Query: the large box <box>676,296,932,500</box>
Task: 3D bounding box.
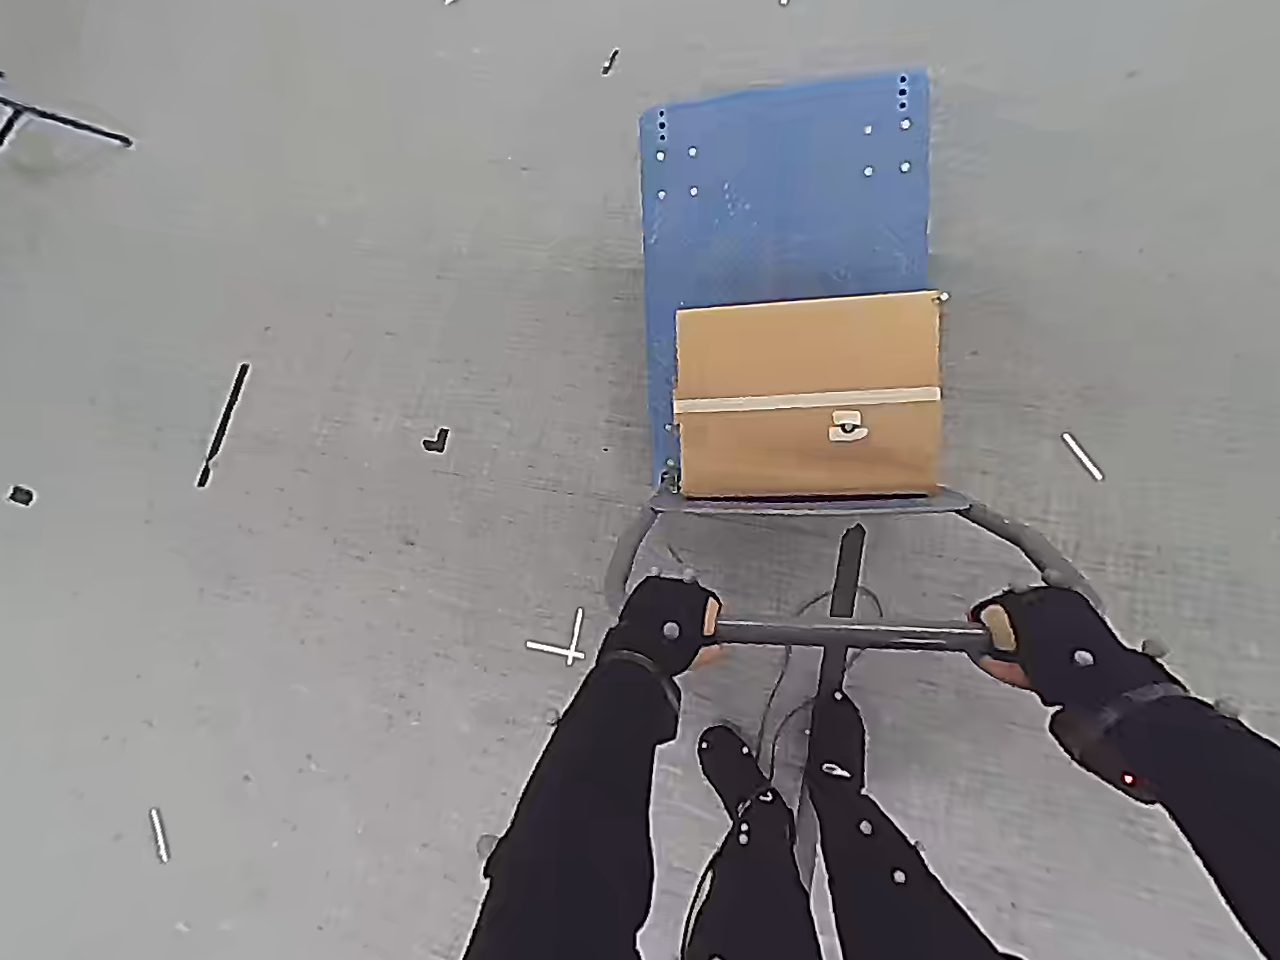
[{"bbox_3d":[0.287,-0.140,1.033,0.408,0.320,0.320,-2,96,10],"label":"large box"}]
